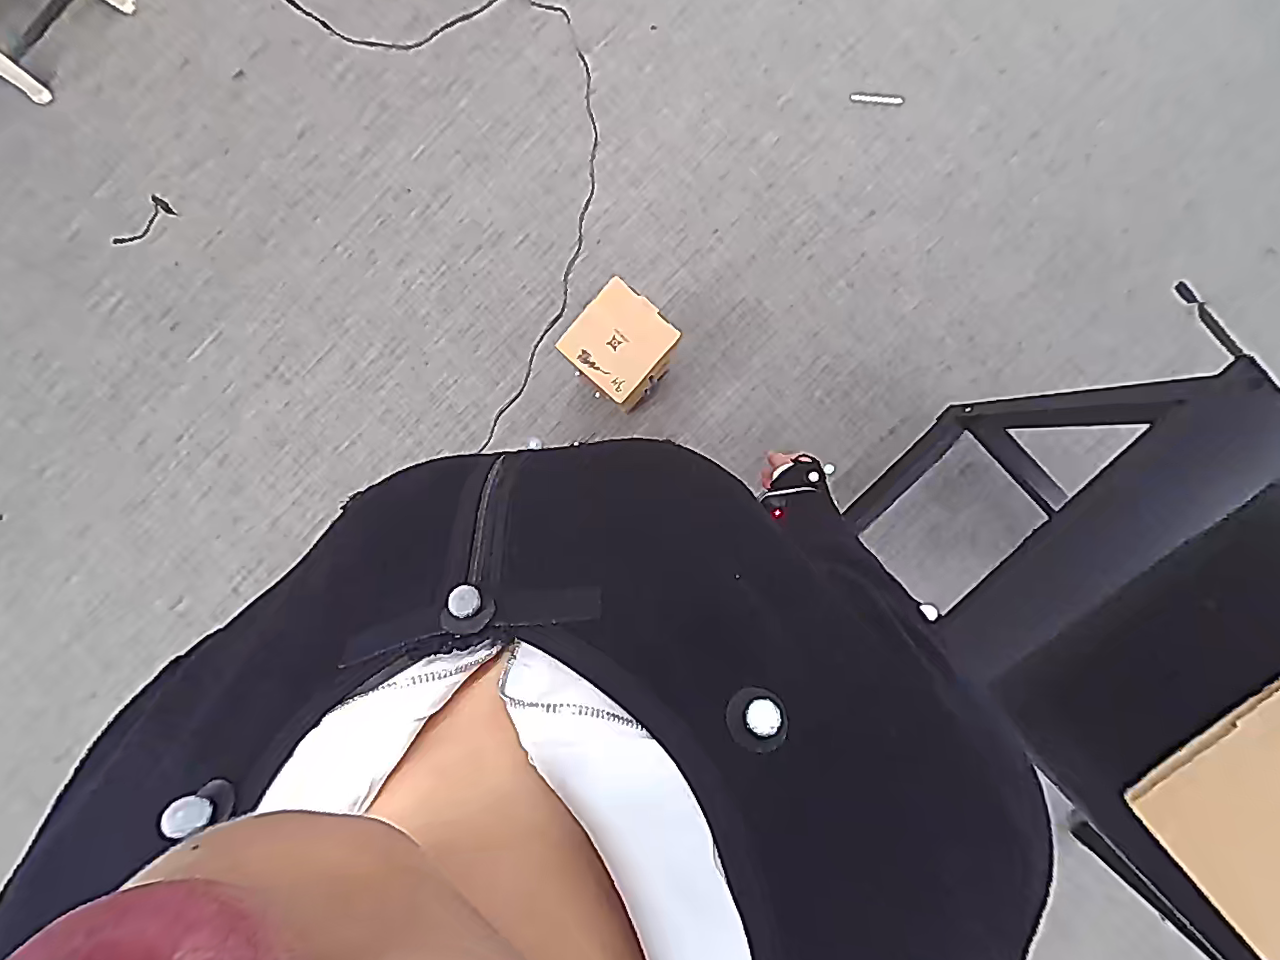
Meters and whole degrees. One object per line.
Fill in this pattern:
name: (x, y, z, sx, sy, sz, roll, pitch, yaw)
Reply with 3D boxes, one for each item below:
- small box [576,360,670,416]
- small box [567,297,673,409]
small box: (-0.044, -0.283, 1.403, 0.168, 0.176, 0.179, 42, 93, -2)
small box: (-0.042, -0.280, 1.242, 0.168, 0.176, 0.179, 38, 91, -3)
